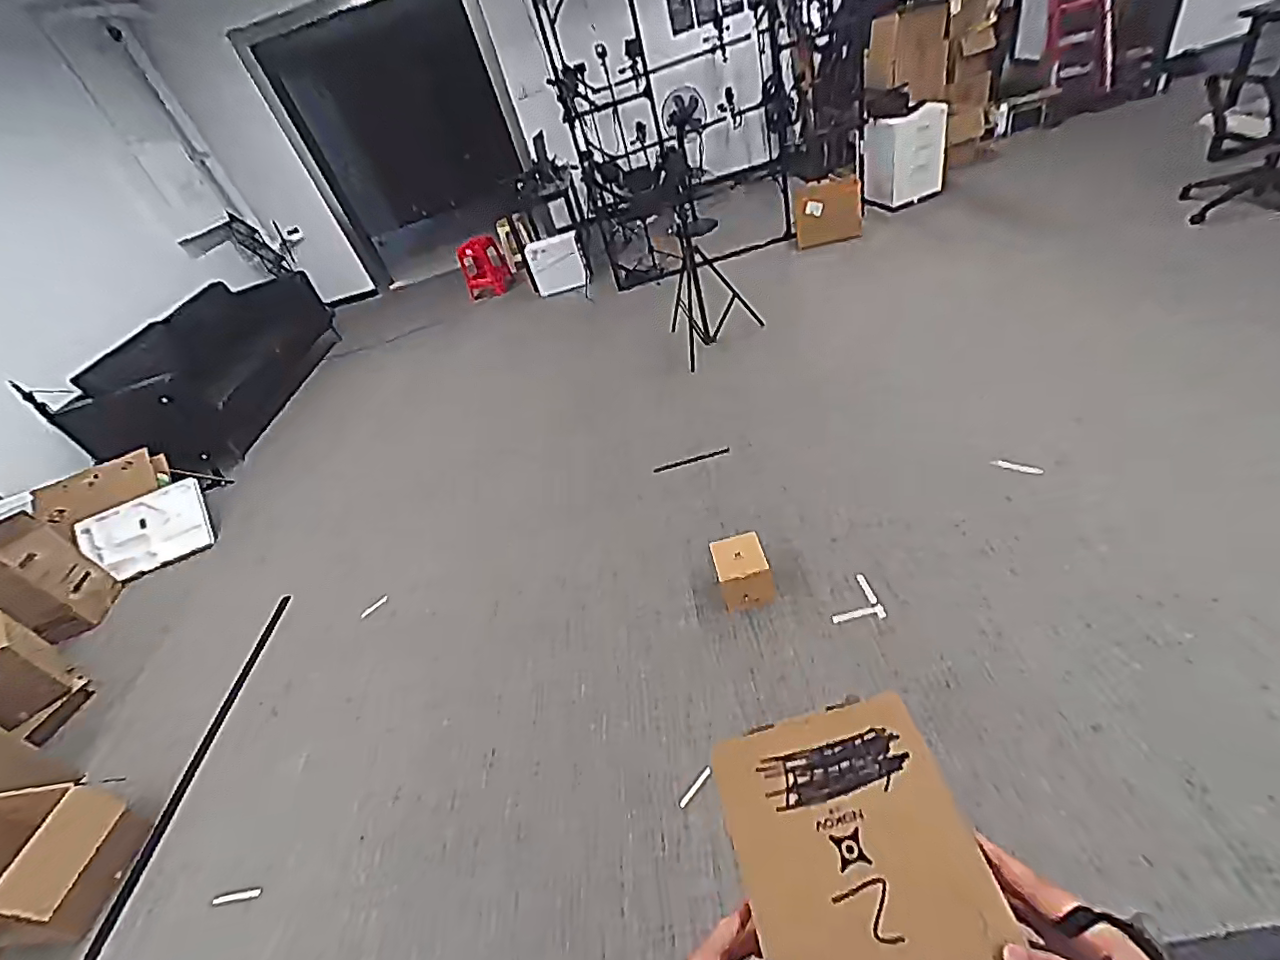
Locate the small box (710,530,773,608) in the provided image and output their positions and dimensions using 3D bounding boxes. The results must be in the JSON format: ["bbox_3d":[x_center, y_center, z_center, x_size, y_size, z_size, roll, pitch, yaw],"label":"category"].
[{"bbox_3d":[0.347,0.305,1.846,0.168,0.176,0.179,-16,39,4],"label":"small box"}]
